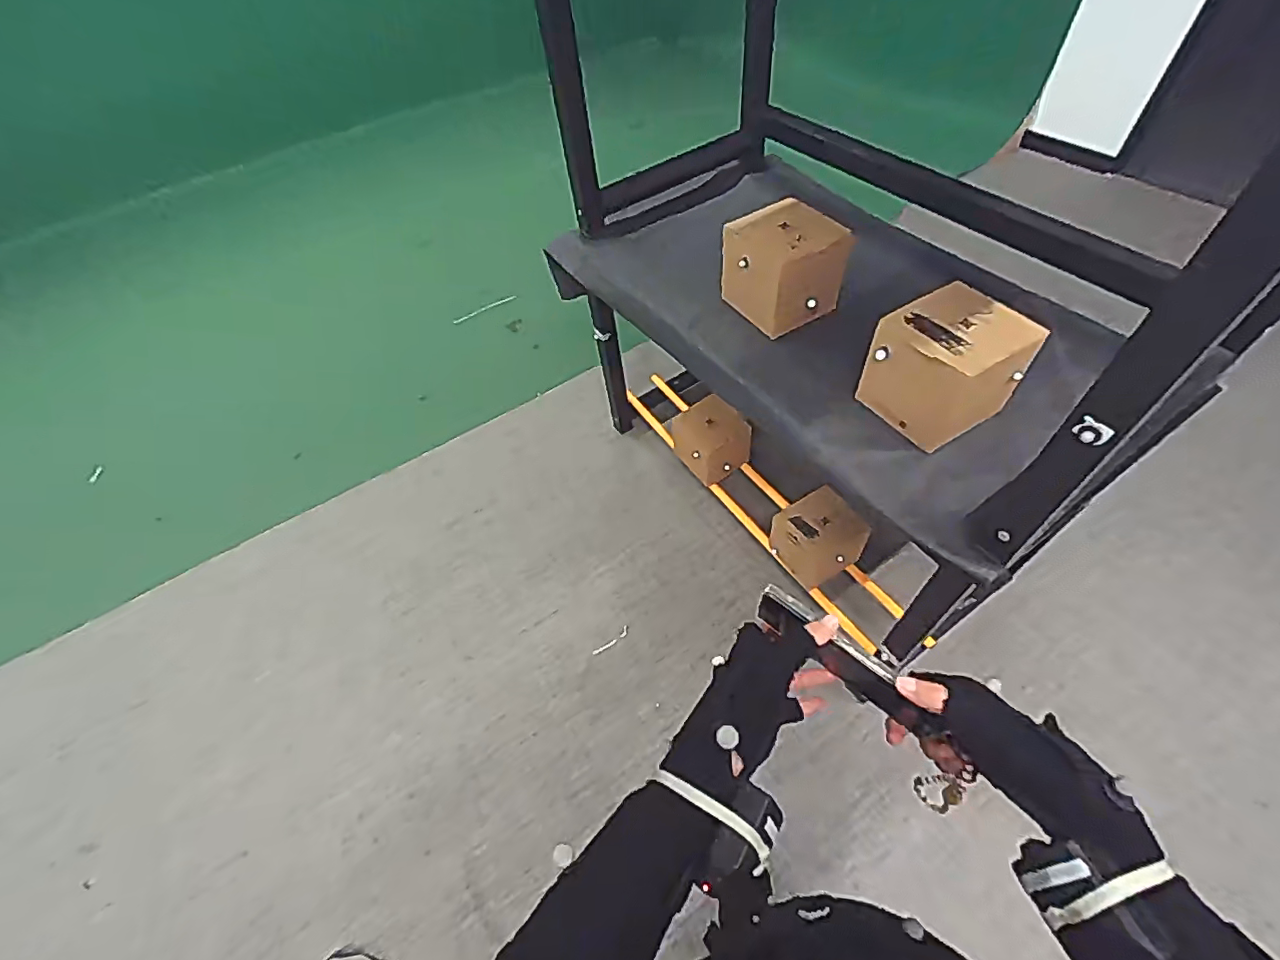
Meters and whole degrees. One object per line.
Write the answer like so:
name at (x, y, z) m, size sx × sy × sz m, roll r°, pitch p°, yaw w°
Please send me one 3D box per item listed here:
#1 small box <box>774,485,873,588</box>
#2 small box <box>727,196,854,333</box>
small box at (0.464, 0.152, 1.401) m, size 0.179 × 0.176 × 0.168 m, roll -28°, pitch 56°, yaw -13°
small box at (0.285, -0.423, 1.069) m, size 0.168 × 0.176 × 0.179 m, roll -28°, pitch 55°, yaw -13°
